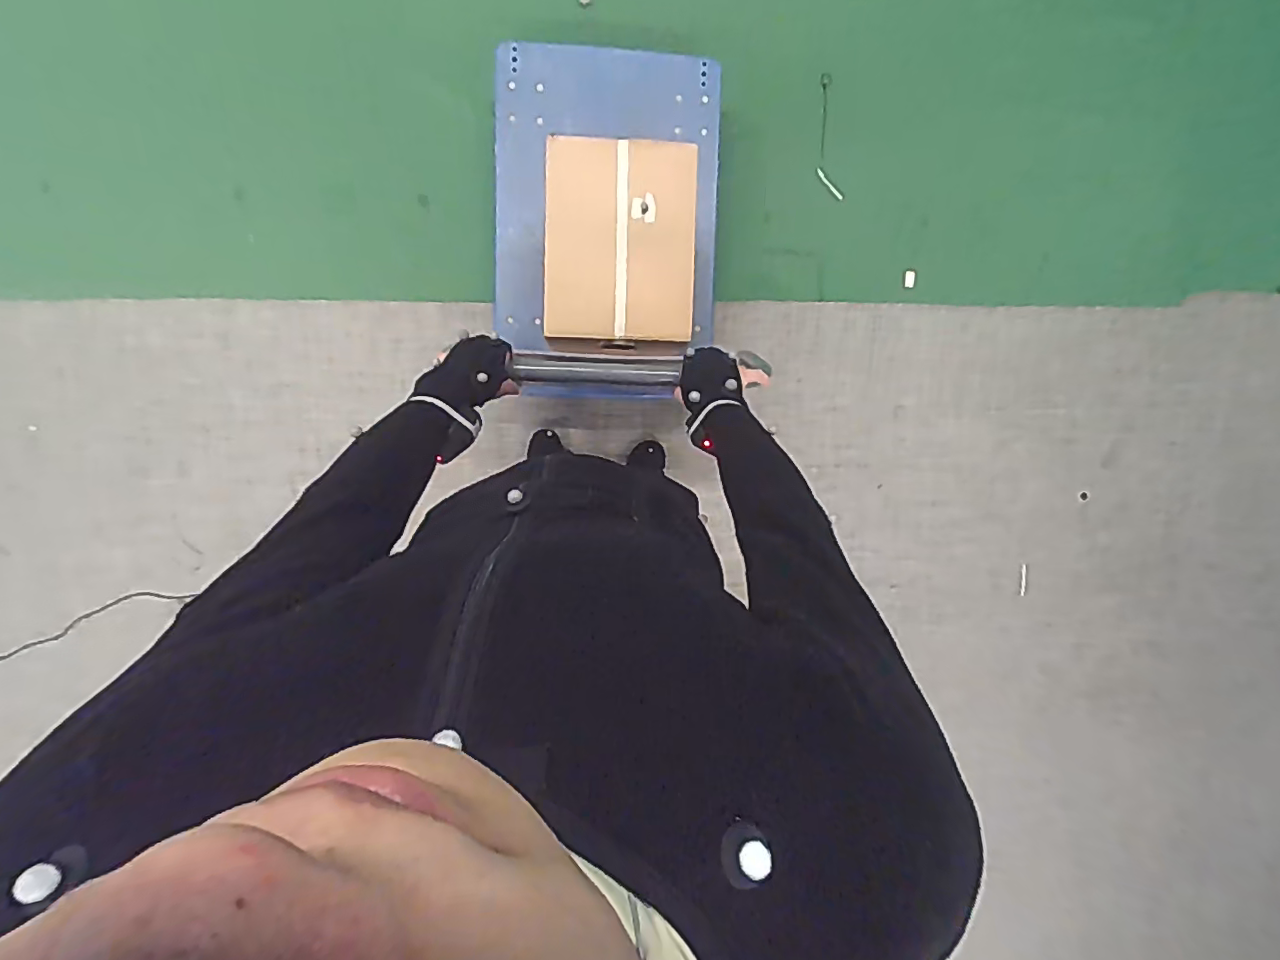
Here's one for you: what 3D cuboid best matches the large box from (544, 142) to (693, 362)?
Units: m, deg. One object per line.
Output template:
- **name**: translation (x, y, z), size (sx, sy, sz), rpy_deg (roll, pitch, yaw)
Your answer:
- **large box**: translation (-0.053, -0.500, 1.273), size (0.320, 0.320, 0.408), rpy_deg (1, 94, -5)
